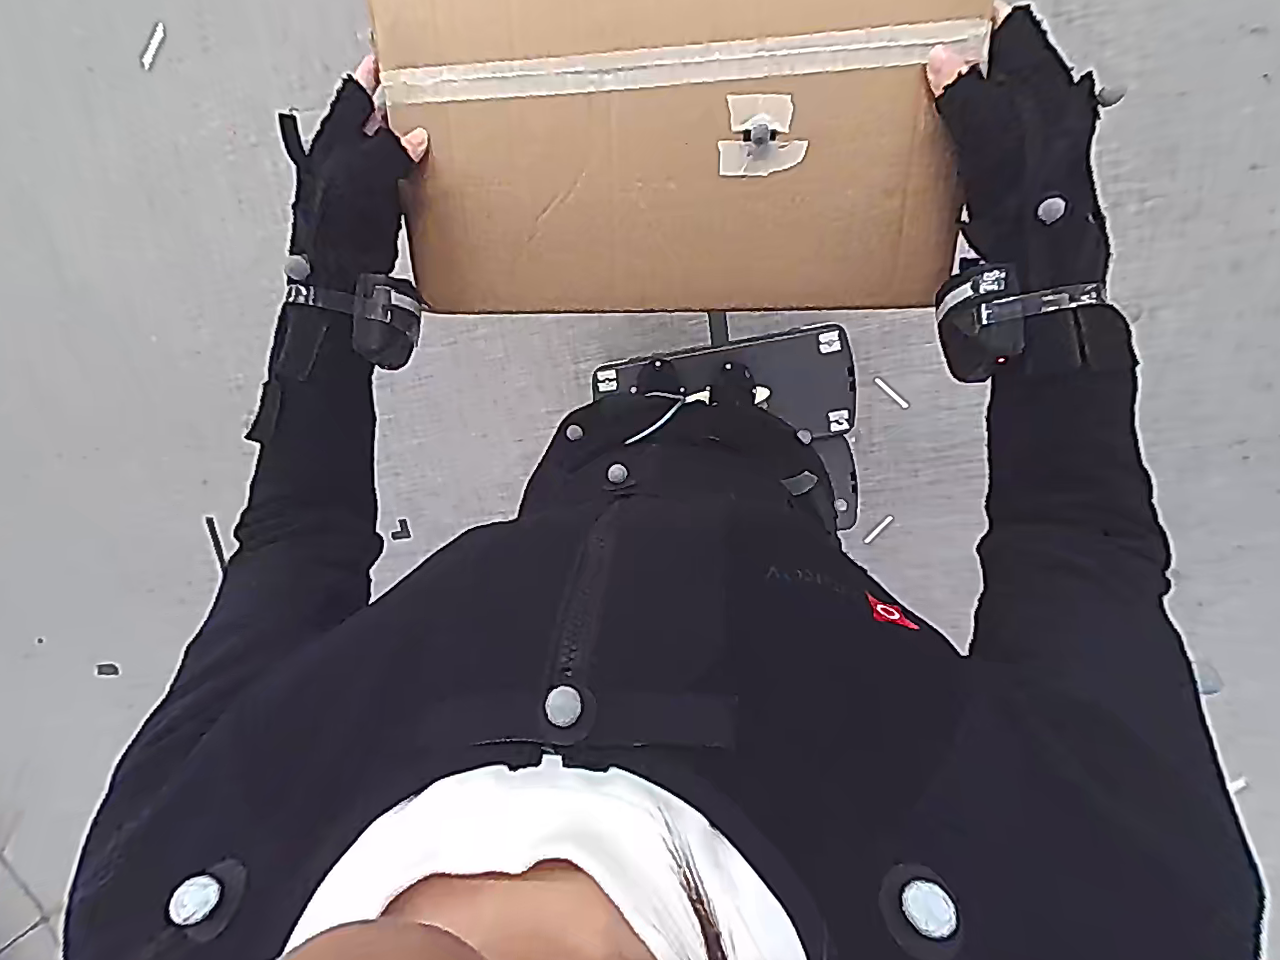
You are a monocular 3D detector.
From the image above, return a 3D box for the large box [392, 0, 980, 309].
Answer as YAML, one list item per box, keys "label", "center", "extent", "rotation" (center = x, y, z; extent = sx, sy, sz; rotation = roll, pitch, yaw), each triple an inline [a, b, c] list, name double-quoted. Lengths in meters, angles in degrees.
- label: "large box"
  center: [0.038, -0.337, 0.514]
  extent: [0.408, 0.320, 0.320]
  rotation: [2, 111, 8]

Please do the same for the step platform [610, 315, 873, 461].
- label: "step platform"
  center: [0.261, -0.243, 1.468]
  extent: [0.684, 0.204, 0.286]
  rotation: [-9, 102, 10]
